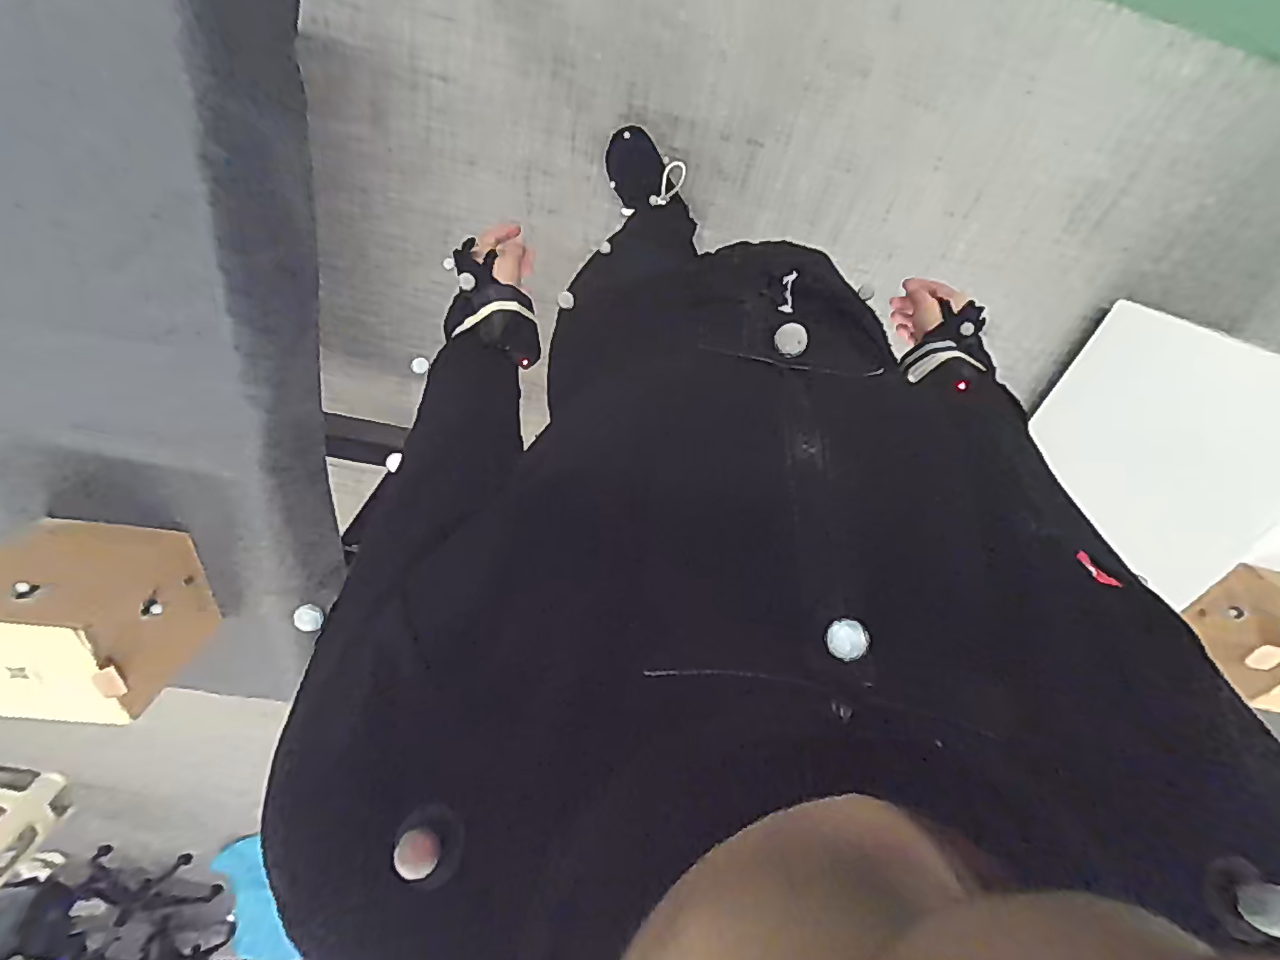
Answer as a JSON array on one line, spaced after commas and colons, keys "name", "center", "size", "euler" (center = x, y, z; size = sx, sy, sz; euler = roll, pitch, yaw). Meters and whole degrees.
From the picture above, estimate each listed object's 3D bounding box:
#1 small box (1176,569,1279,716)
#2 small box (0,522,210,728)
[{"name": "small box", "center": [1.064, 0.267, 0.879], "size": [0.179, 0.176, 0.168], "euler": [13, 122, -9]}, {"name": "small box", "center": [-0.664, 0.167, 0.647], "size": [0.179, 0.176, 0.168], "euler": [7, 121, -4]}]
